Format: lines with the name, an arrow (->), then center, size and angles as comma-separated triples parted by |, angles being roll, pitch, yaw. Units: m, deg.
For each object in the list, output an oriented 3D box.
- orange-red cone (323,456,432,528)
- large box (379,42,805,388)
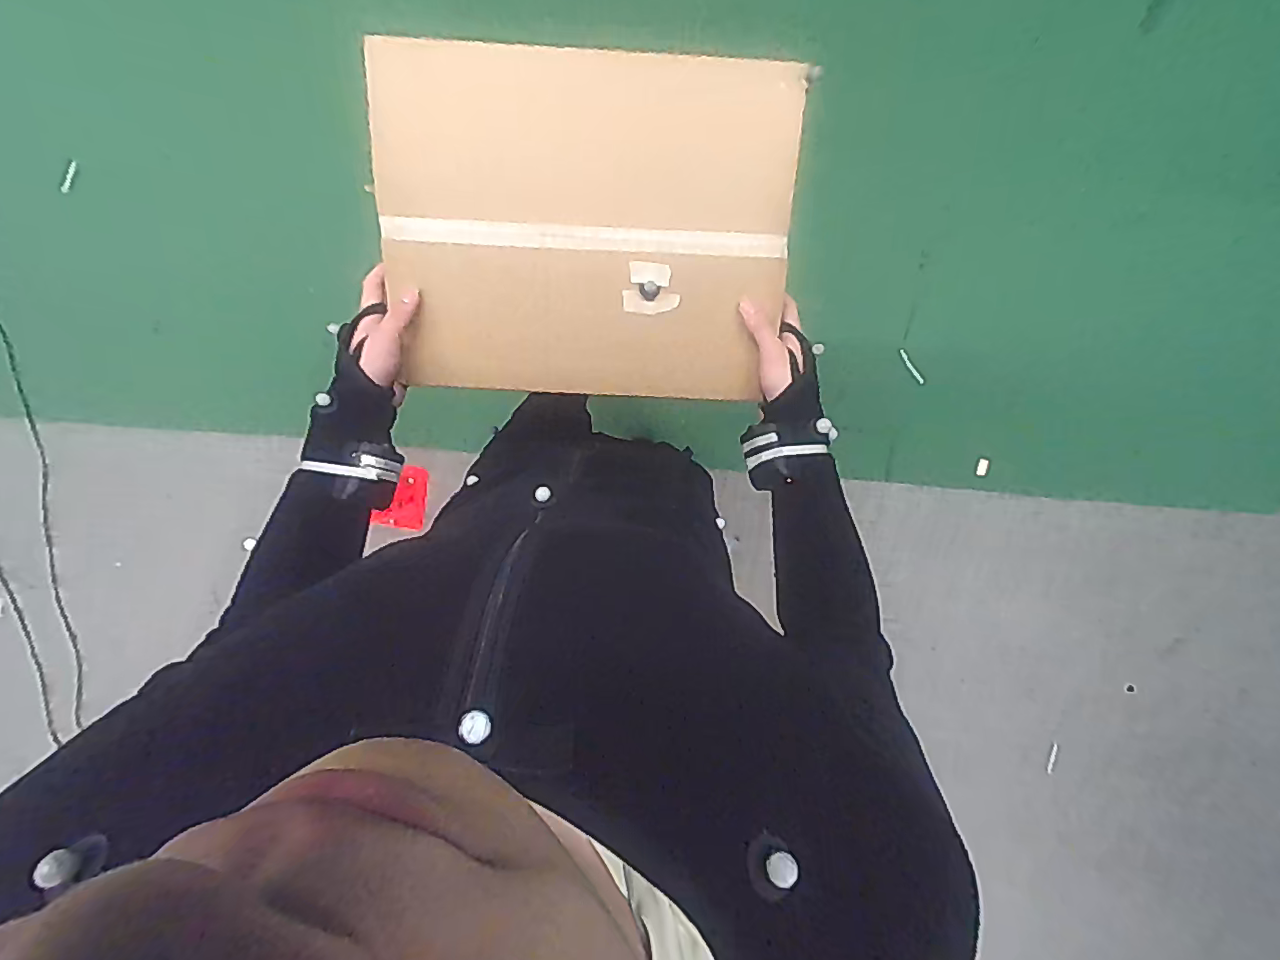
orange-red cone -> -0.744, 0.068, 1.471 | 0.199, 0.360, 0.198 | 12, 101, 0
large box -> -0.051, -0.298, 0.687 | 0.408, 0.320, 0.320 | 2, 109, -2
